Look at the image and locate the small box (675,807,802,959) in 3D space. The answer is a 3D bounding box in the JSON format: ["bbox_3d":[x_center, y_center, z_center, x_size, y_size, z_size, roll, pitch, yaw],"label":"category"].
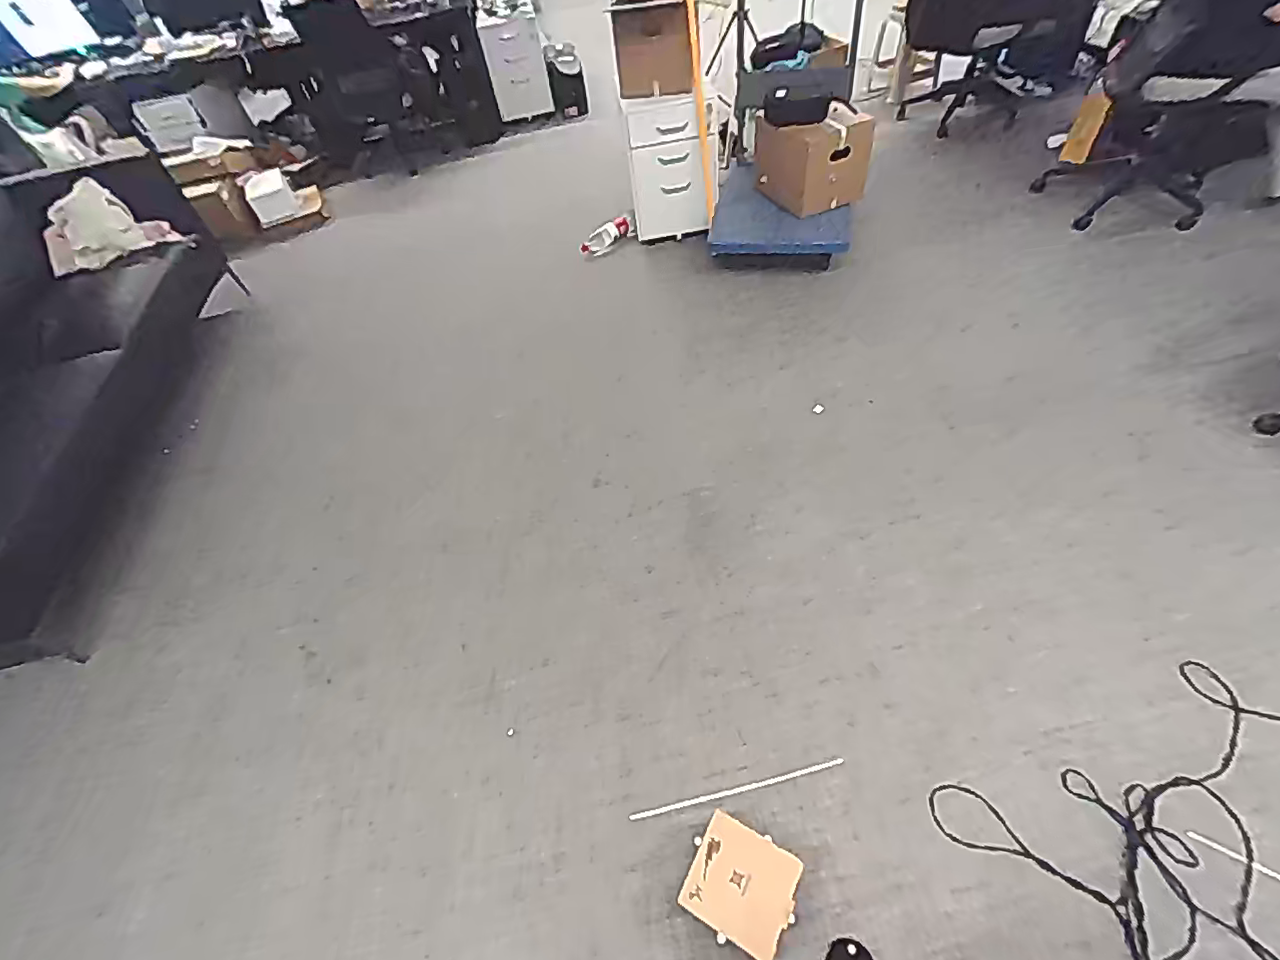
[{"bbox_3d":[0.185,0.752,1.014,0.179,0.176,0.168,21,58,24],"label":"small box"}]
